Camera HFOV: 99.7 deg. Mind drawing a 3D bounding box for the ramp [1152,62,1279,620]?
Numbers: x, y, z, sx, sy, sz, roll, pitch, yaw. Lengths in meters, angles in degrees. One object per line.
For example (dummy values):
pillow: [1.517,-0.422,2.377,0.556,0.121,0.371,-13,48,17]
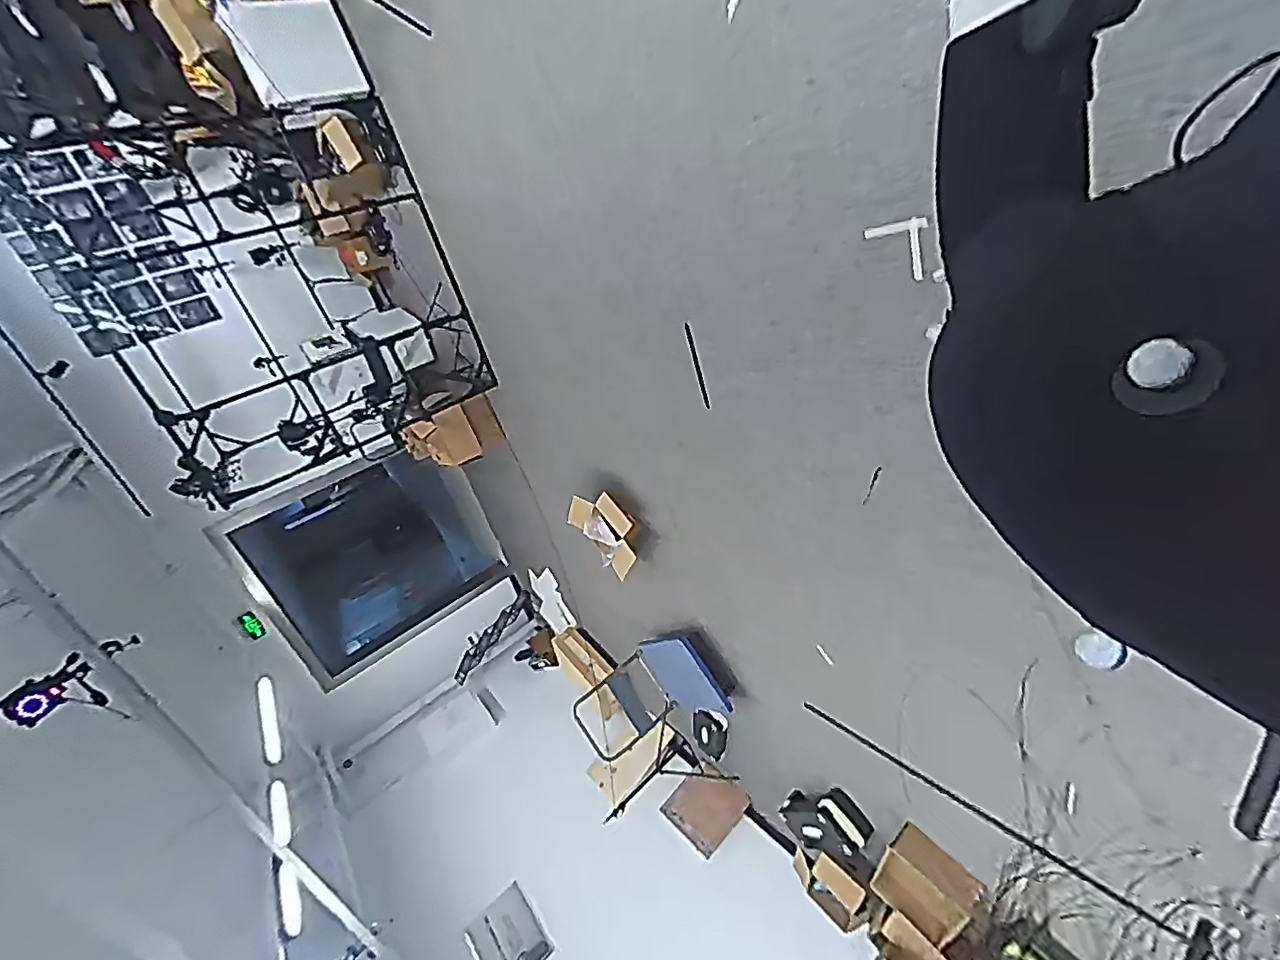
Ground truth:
ramp: [1.244,-0.177,0.878,0.509,0.206,0.991,16,131,52]
